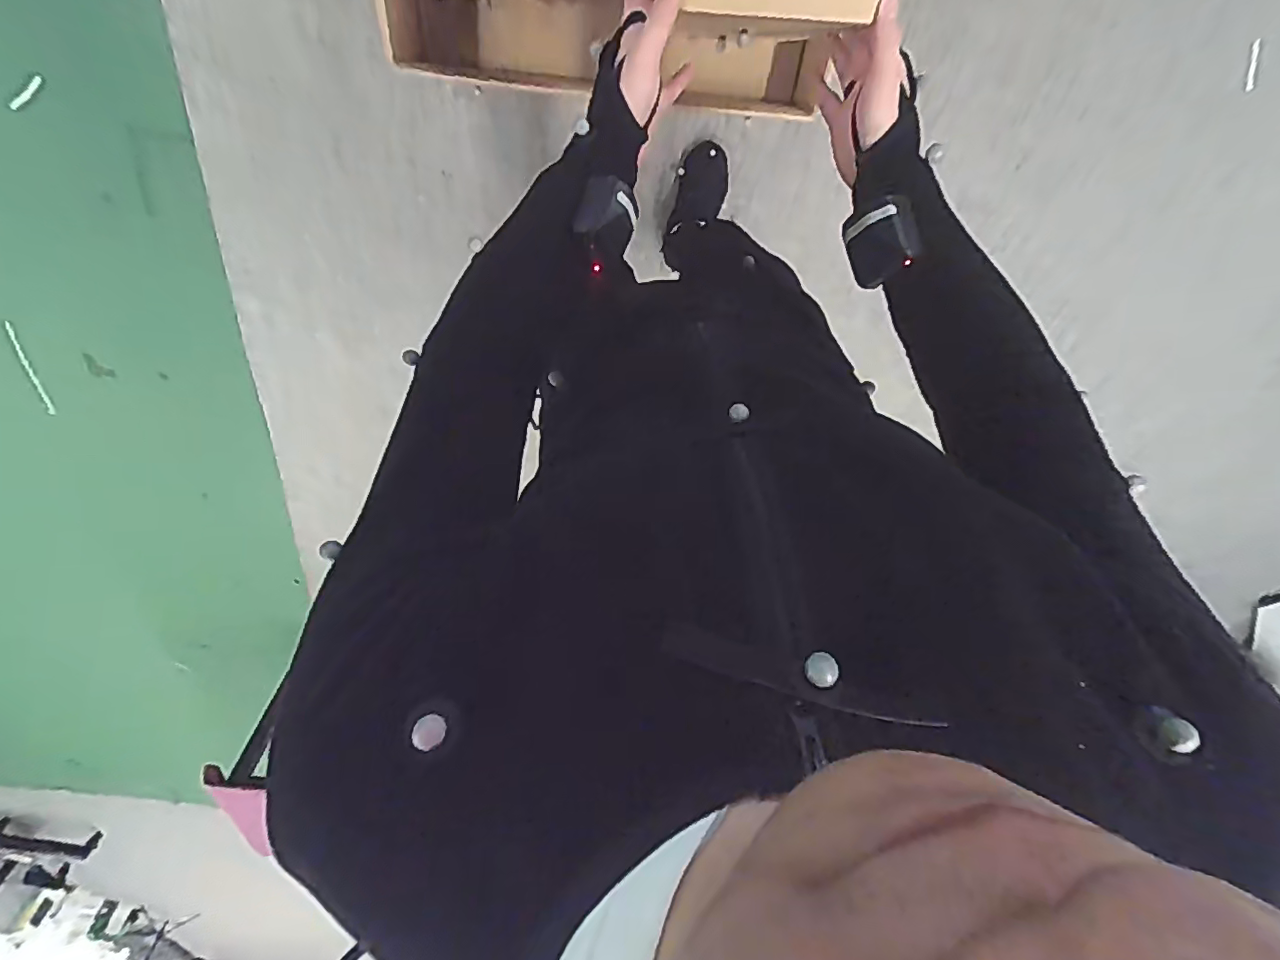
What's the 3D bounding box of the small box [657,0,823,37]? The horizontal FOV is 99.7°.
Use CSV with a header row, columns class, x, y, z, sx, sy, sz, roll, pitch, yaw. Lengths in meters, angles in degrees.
class,x,y,z,sx,sy,sz,roll,pitch,yaw
small box,0.108,-0.585,0.568,0.168,0.176,0.179,2,128,-4
